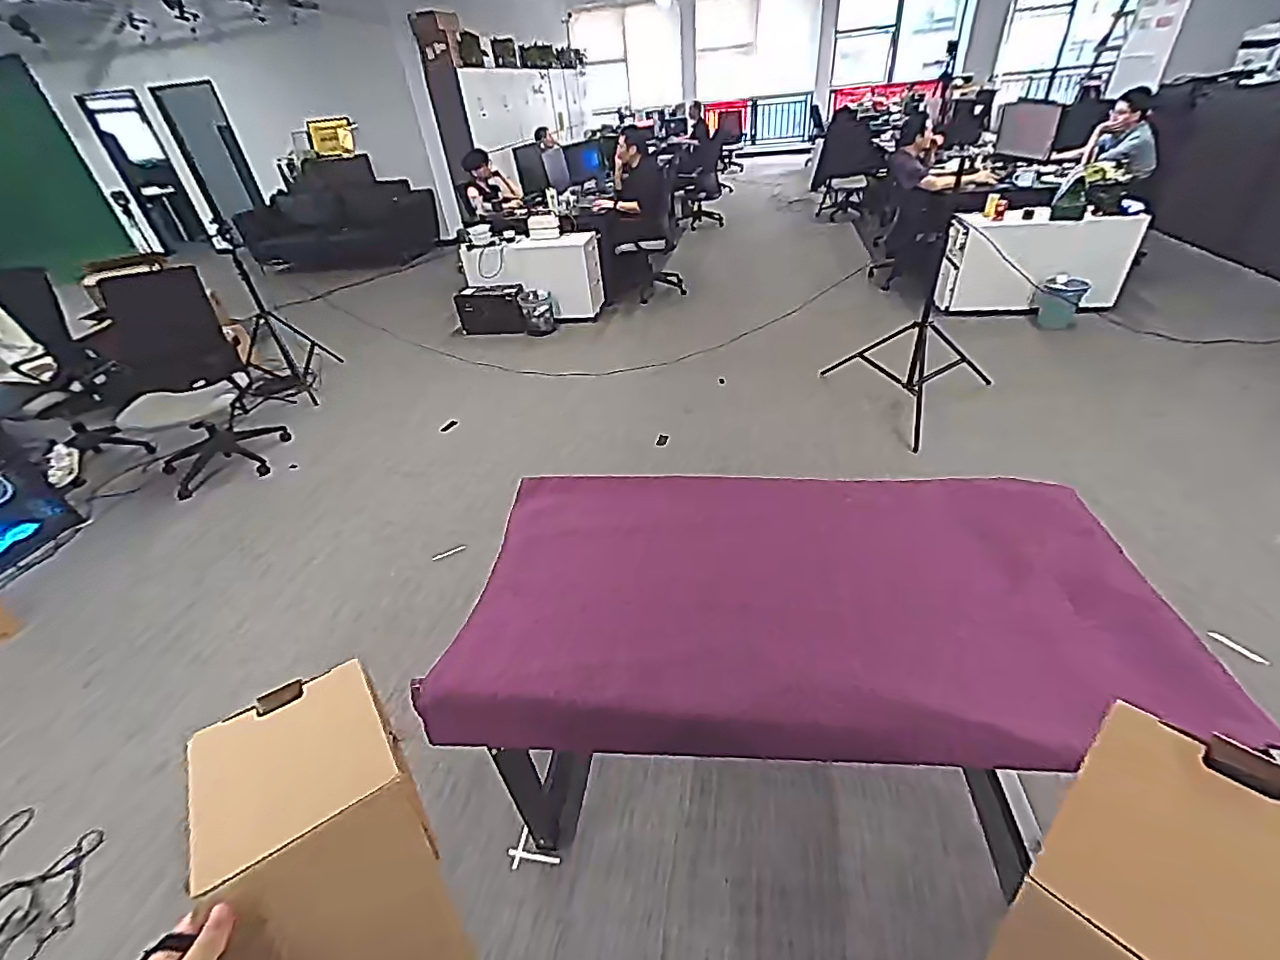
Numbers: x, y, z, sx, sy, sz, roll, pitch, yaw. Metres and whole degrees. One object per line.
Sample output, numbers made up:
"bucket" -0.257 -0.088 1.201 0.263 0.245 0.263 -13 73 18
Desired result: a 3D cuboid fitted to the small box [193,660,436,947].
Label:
"small box" -0.334 0.337 0.568 0.168 0.176 0.179 -22 37 -29
